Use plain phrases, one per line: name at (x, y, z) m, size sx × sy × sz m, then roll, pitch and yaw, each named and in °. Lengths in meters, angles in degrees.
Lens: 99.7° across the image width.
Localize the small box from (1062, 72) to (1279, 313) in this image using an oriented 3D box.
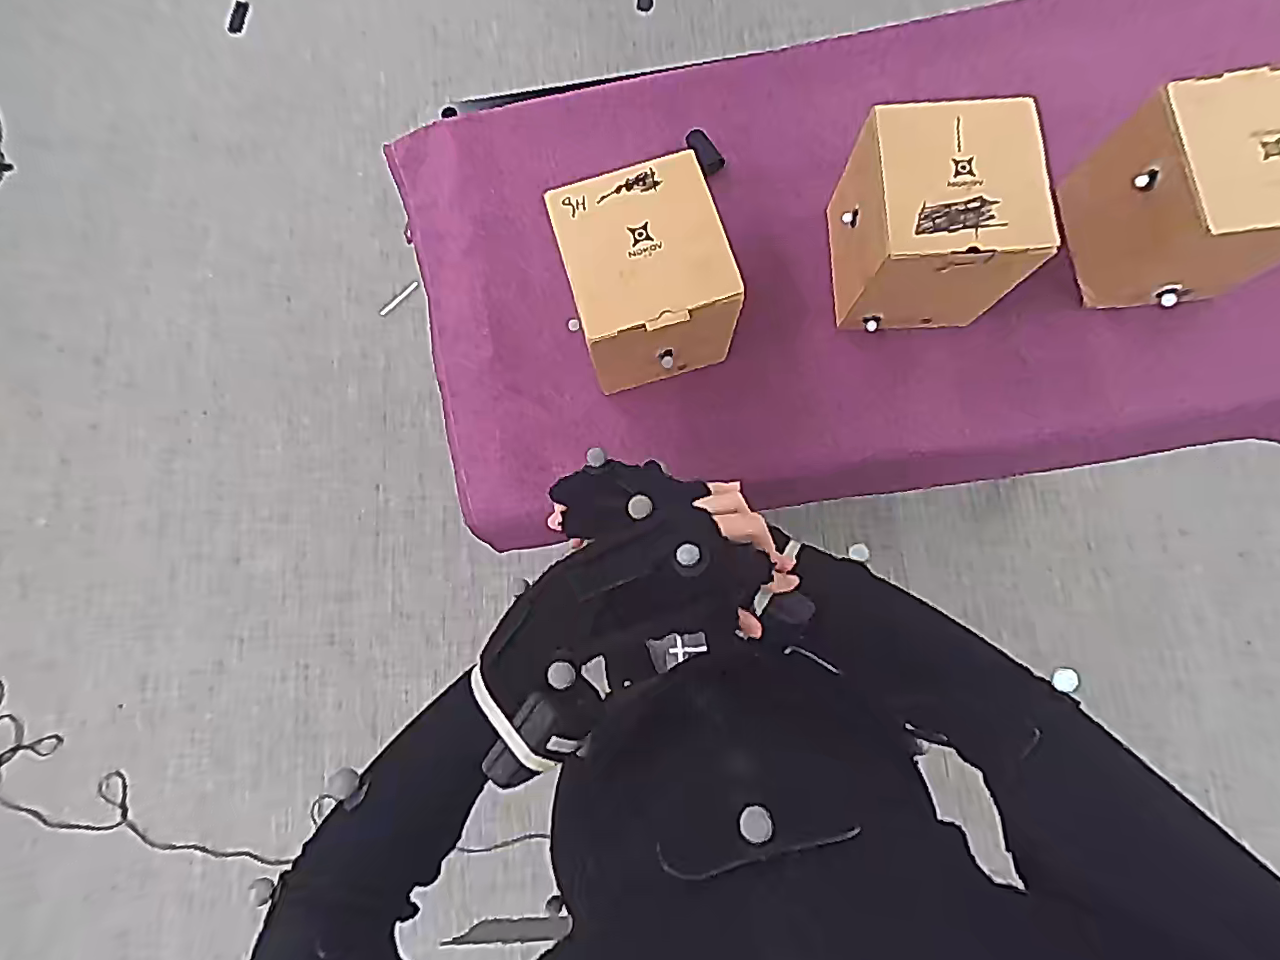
small box at (0.633, -0.317, 0.620) m, size 0.168 × 0.176 × 0.179 m, roll -6°, pitch 80°, yaw 3°

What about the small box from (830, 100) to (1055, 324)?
small box at (0.331, -0.294, 0.628) m, size 0.168 × 0.176 × 0.179 m, roll -1°, pitch 79°, yaw 2°

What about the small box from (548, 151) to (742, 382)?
small box at (0.008, -0.229, 0.631) m, size 0.168 × 0.176 × 0.179 m, roll -16°, pitch 80°, yaw -1°
